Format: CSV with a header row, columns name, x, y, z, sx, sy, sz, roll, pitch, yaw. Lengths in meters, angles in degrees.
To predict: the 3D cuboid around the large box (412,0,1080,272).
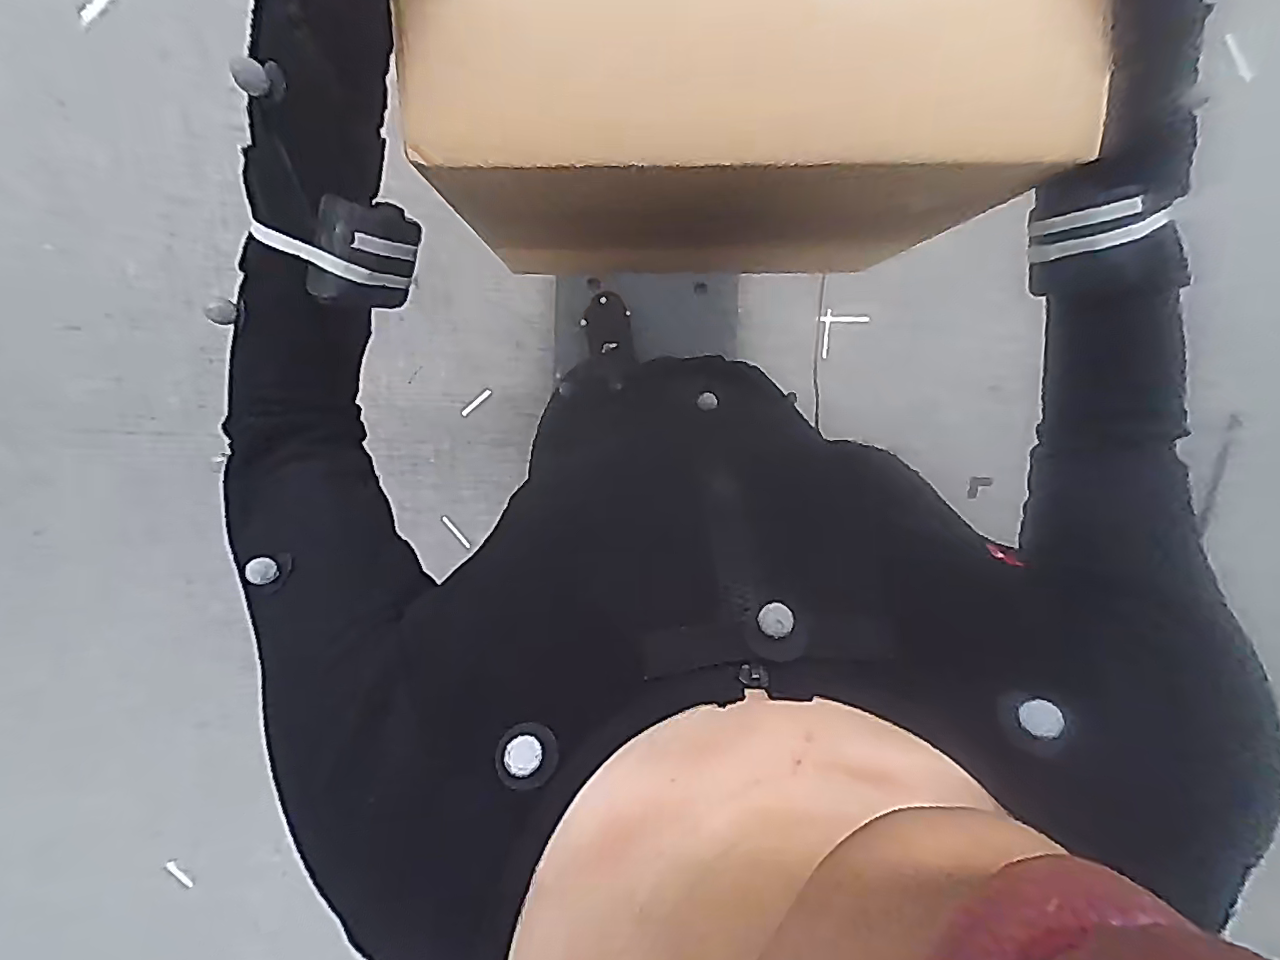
name,x,y,z,sx,sy,sz,roll,pitch,yaw
large box,0.055,-0.373,0.453,0.408,0.320,0.320,-2,100,-3
